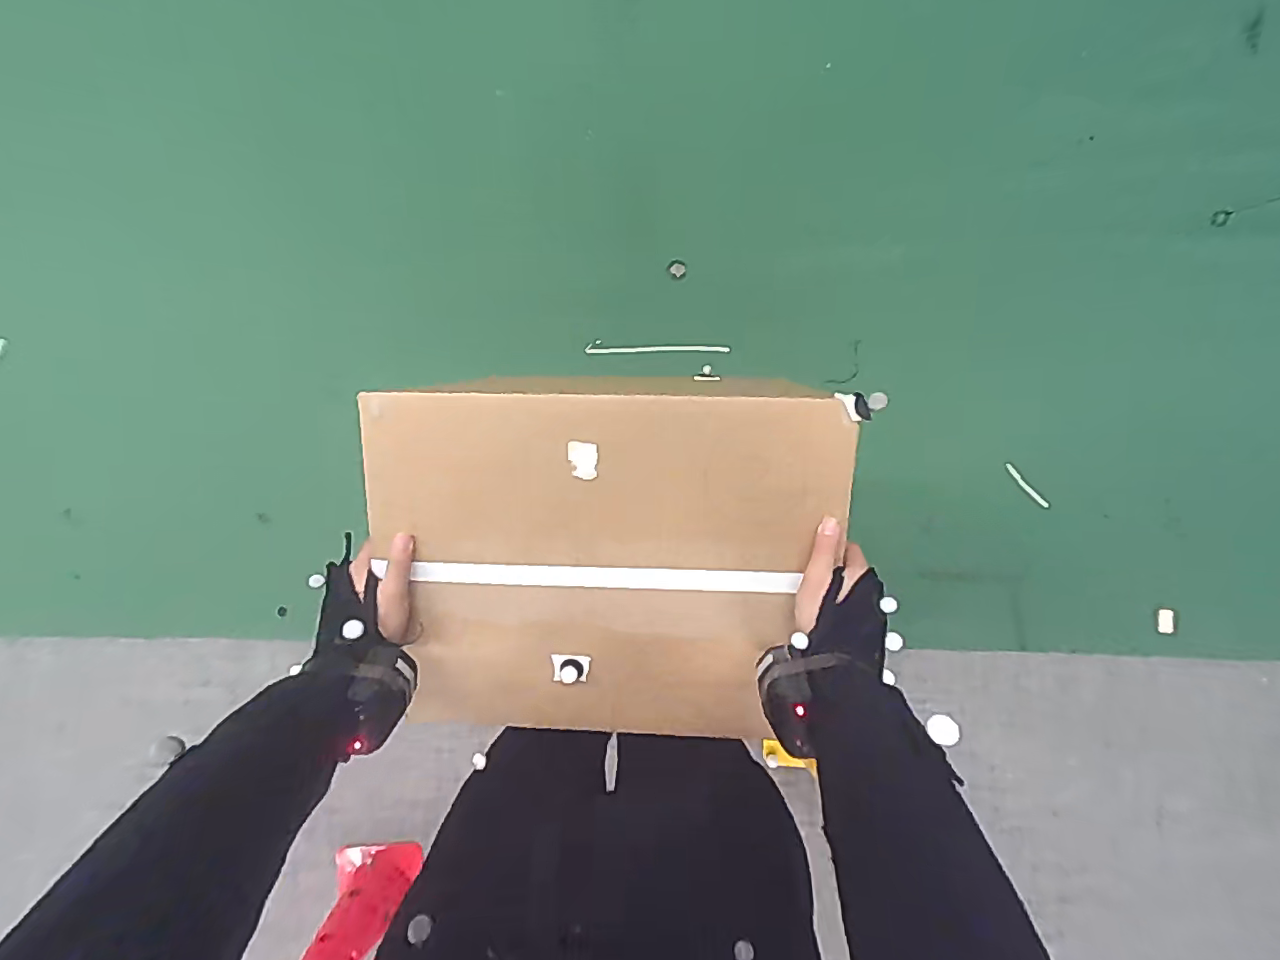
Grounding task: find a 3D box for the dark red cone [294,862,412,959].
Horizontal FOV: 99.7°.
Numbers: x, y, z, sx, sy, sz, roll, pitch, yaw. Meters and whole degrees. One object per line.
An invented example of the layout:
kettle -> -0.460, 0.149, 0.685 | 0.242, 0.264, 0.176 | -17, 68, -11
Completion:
dark red cone -> -0.596, 0.903, 0.984 | 0.202, 0.394, 0.201 | -8, 84, 5
